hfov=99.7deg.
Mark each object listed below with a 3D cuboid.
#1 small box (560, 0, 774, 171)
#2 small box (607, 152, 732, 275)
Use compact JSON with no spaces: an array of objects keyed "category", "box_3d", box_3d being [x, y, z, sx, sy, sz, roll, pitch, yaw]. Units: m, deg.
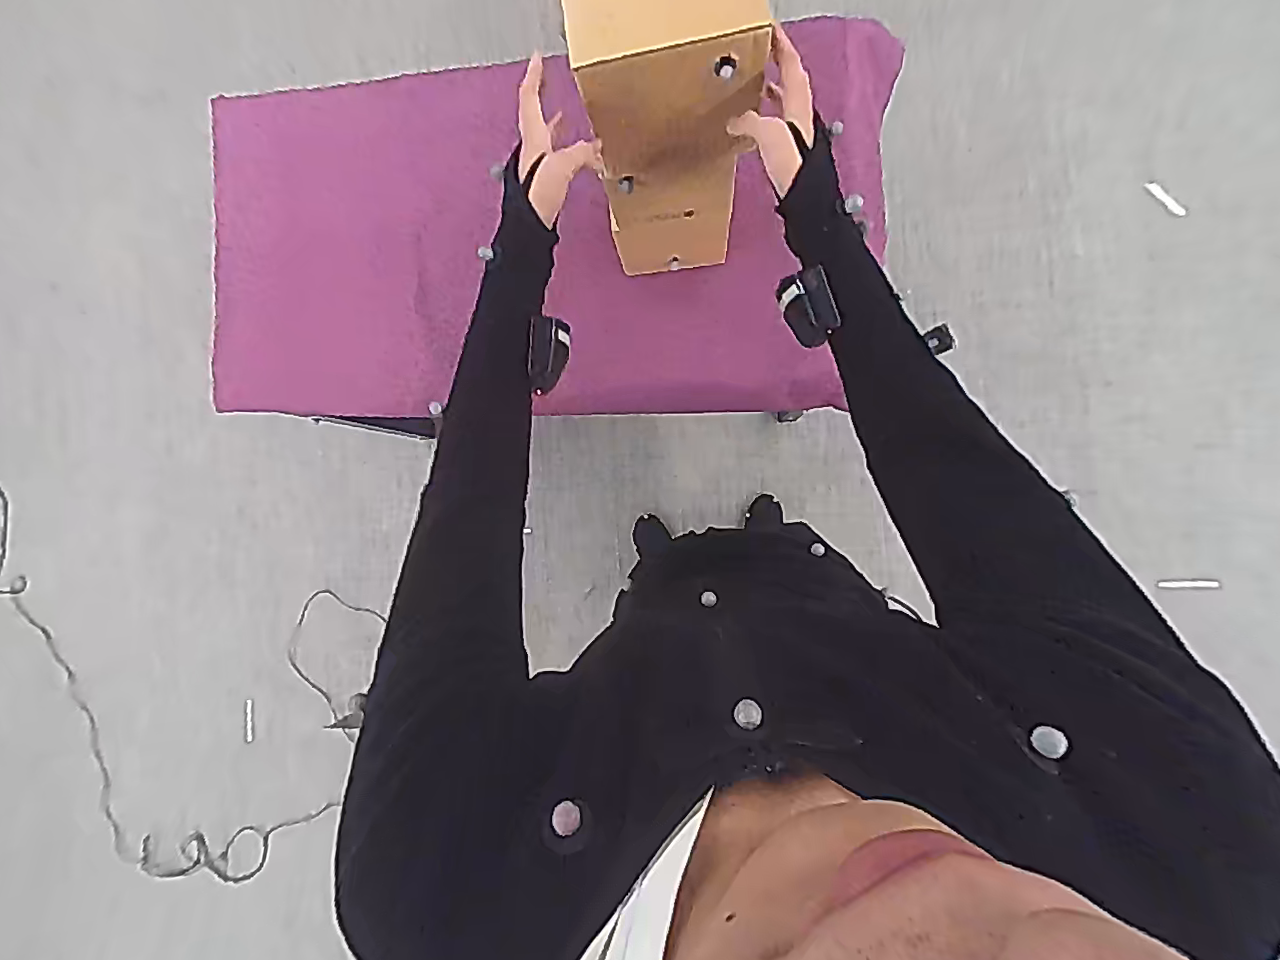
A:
[{"category":"small box","box_3d":[0.023,-0.438,0.530,0.179,0.176,0.168,-8,87,5]},{"category":"small box","box_3d":[0.045,-0.445,0.857,0.179,0.176,0.168,-5,87,5]}]
